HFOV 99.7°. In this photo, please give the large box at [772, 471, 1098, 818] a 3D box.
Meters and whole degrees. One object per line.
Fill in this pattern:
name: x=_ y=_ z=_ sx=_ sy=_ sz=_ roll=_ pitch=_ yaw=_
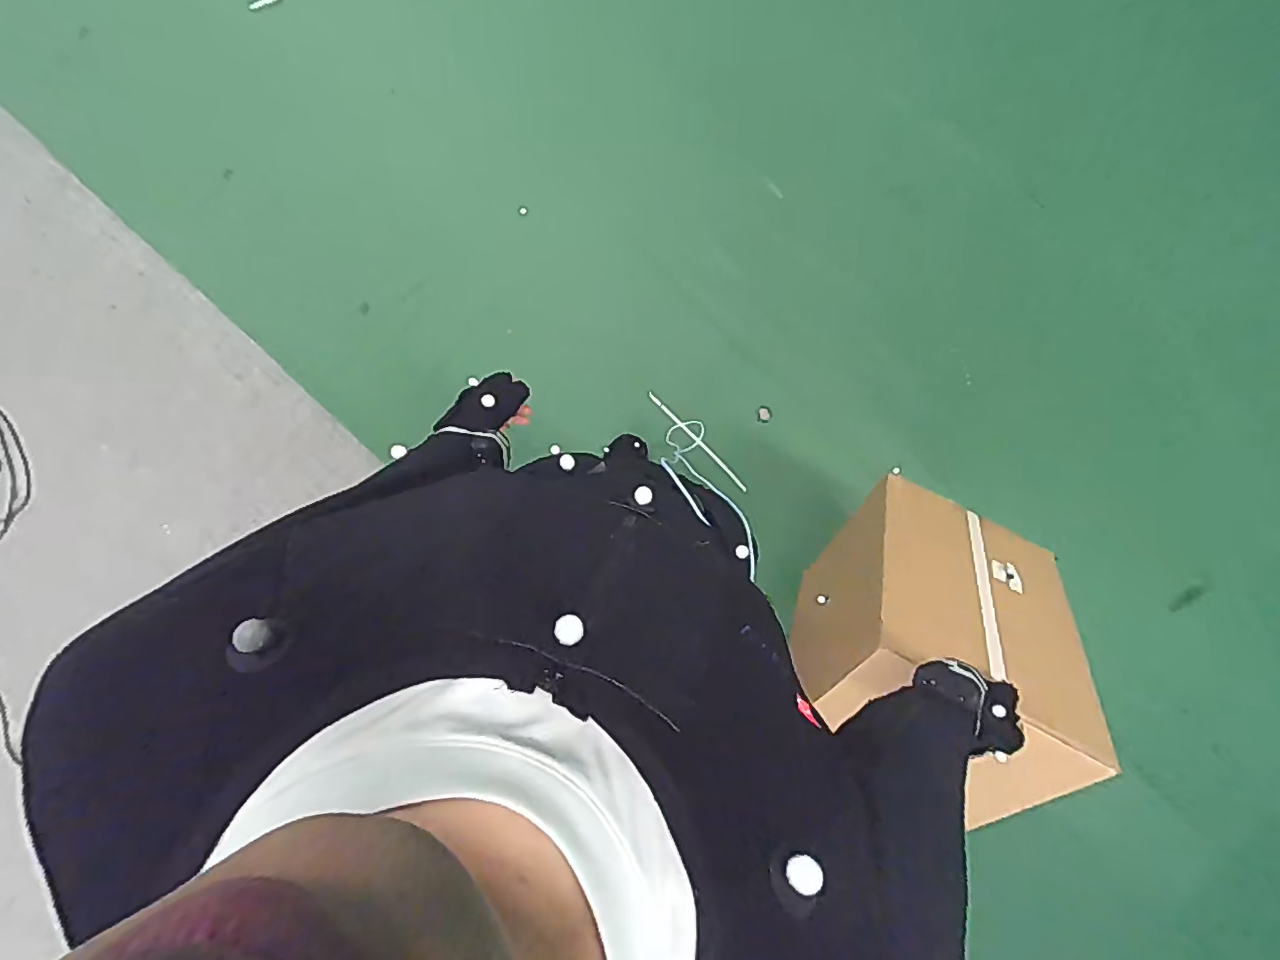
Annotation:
large box: x=0.457 y=0.266 z=0.925 sx=0.320 sy=0.408 sz=0.320 roll=29 pitch=130 yaw=4
